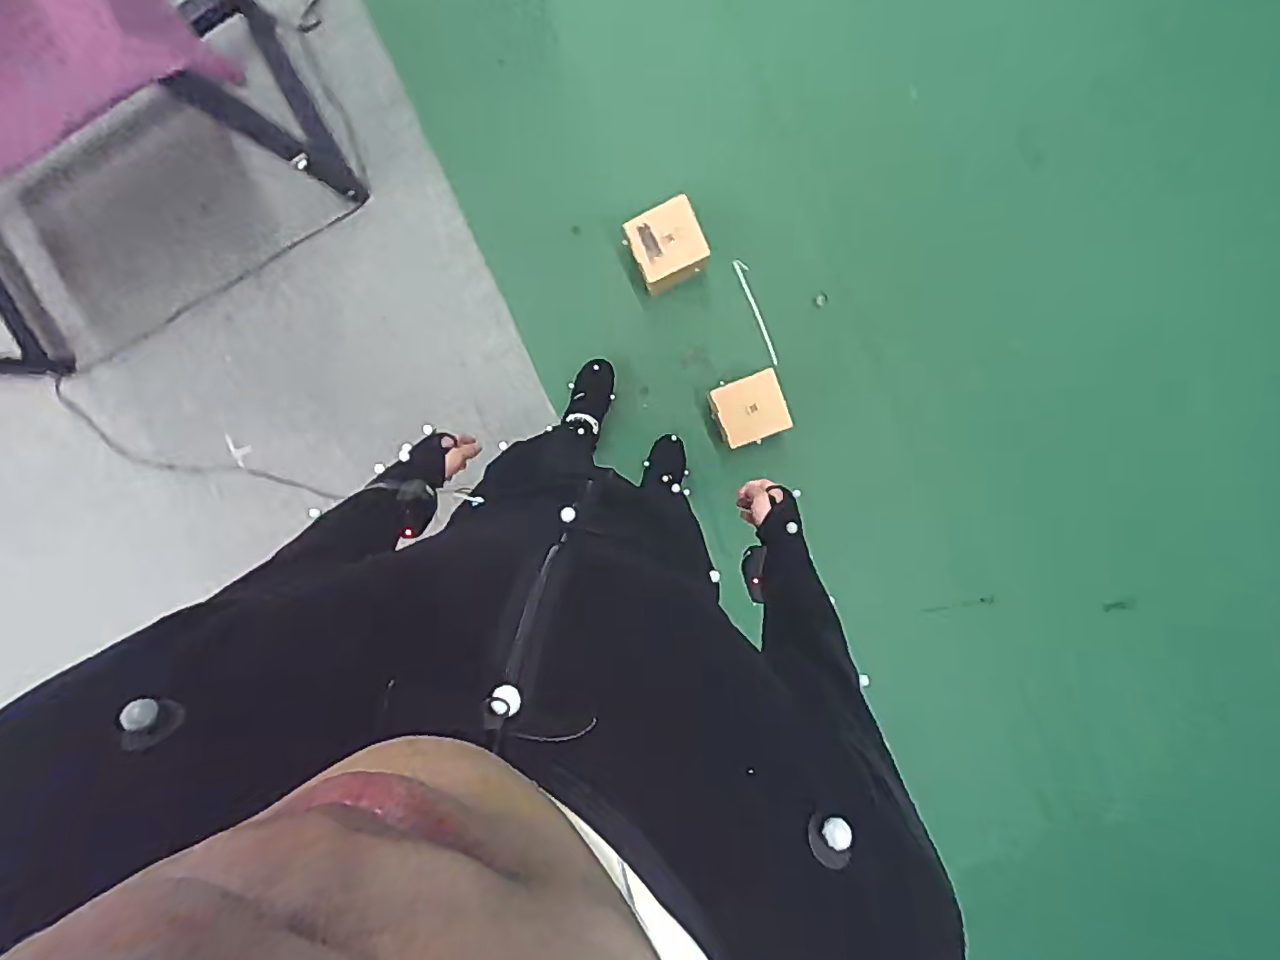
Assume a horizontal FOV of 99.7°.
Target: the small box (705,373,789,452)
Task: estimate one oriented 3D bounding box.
[{"bbox_3d":[0.290,-0.191,1.502,0.179,0.176,0.168,-21,97,7],"label":"small box"}]
